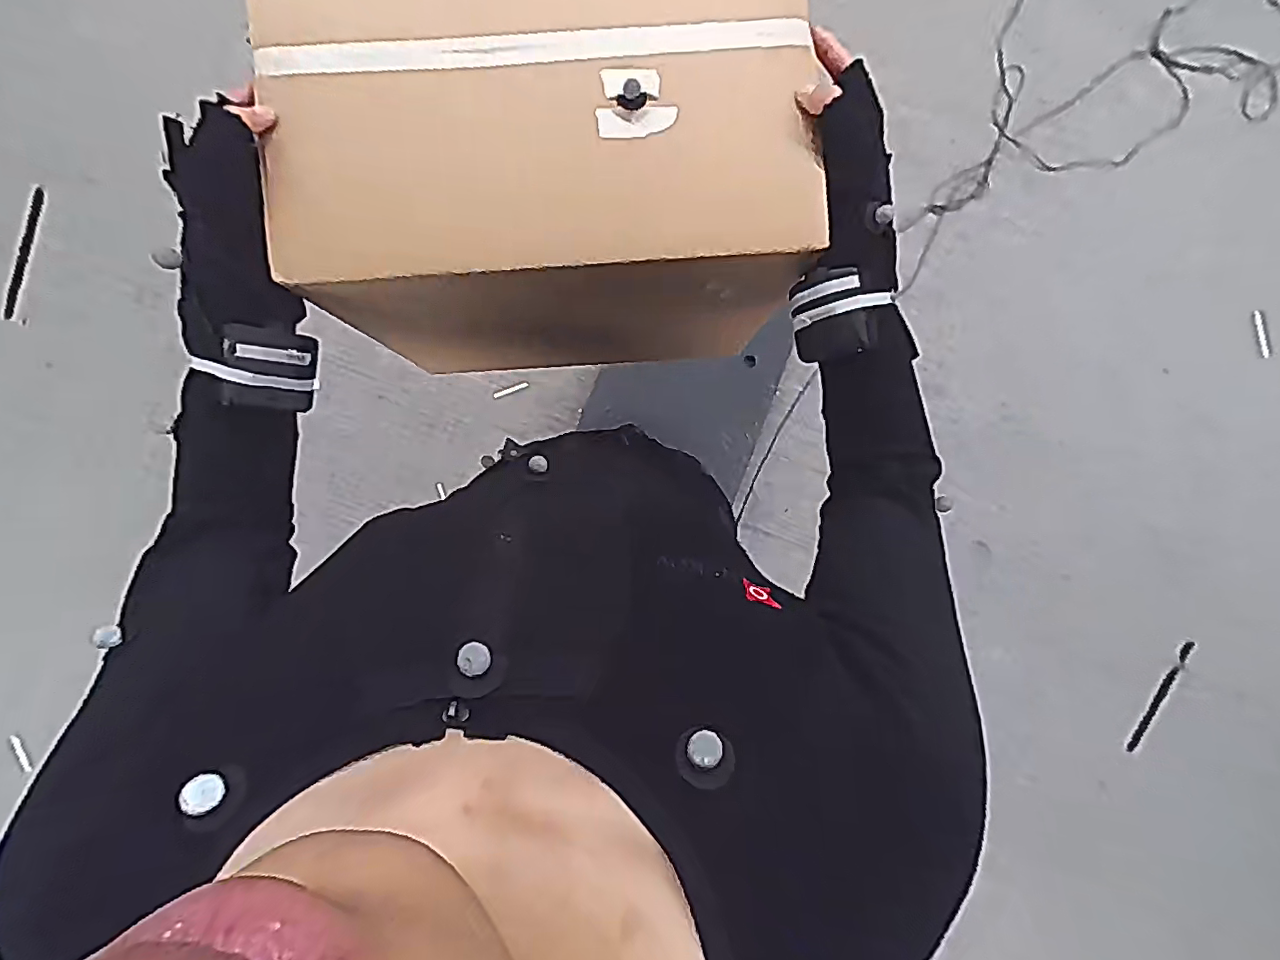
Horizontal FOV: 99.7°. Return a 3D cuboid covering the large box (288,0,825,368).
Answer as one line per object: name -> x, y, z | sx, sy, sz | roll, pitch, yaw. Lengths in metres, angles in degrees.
large box -> -0.071, -0.315, 0.561 | 0.408, 0.320, 0.320 | -4, 89, -2
